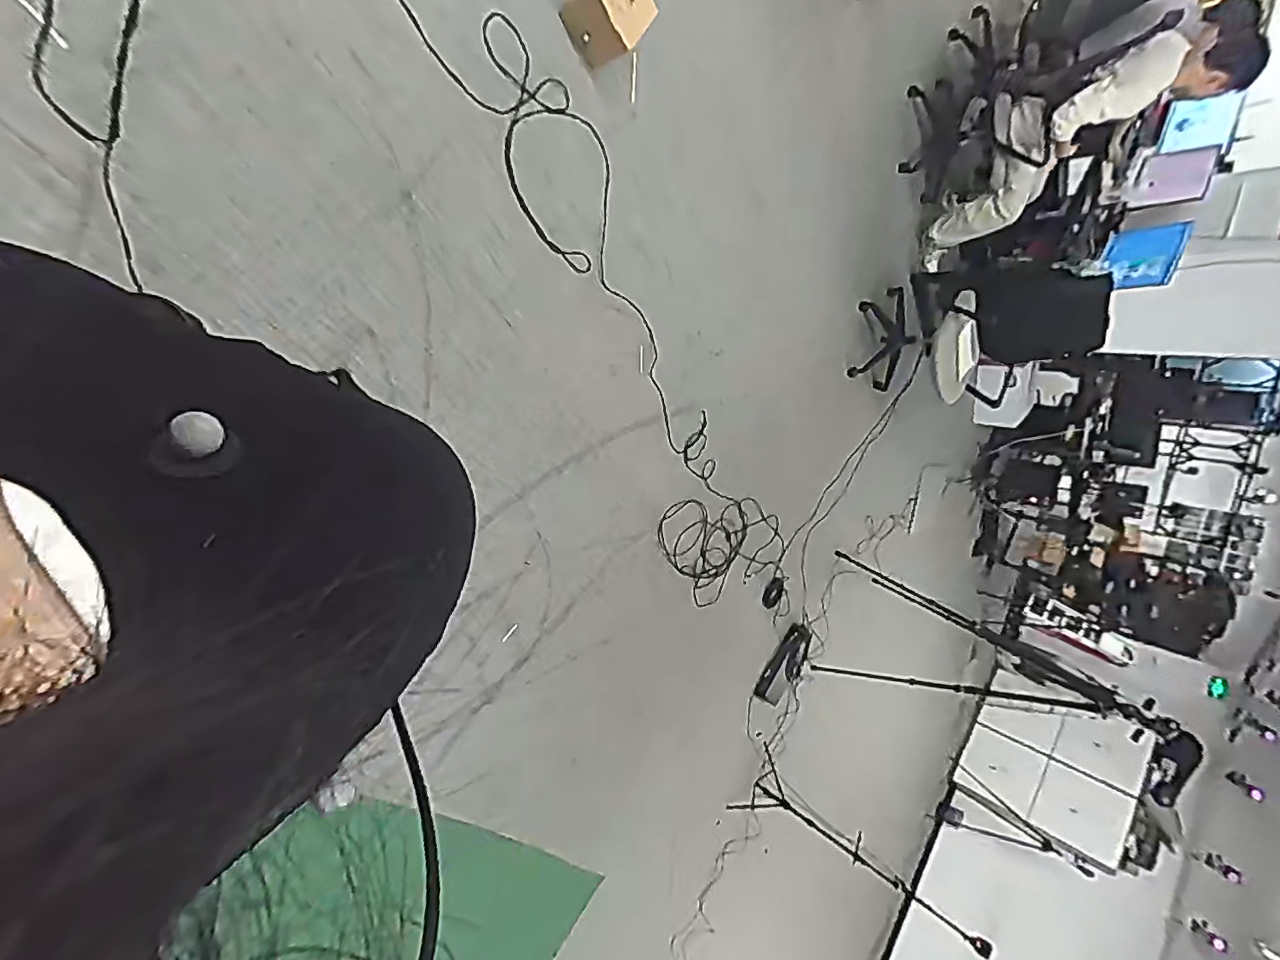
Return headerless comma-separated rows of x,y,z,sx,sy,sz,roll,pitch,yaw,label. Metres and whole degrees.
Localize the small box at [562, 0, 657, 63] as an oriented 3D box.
-0.089,-1.340,1.533,0.168,0.176,0.179,41,74,-43,small box
